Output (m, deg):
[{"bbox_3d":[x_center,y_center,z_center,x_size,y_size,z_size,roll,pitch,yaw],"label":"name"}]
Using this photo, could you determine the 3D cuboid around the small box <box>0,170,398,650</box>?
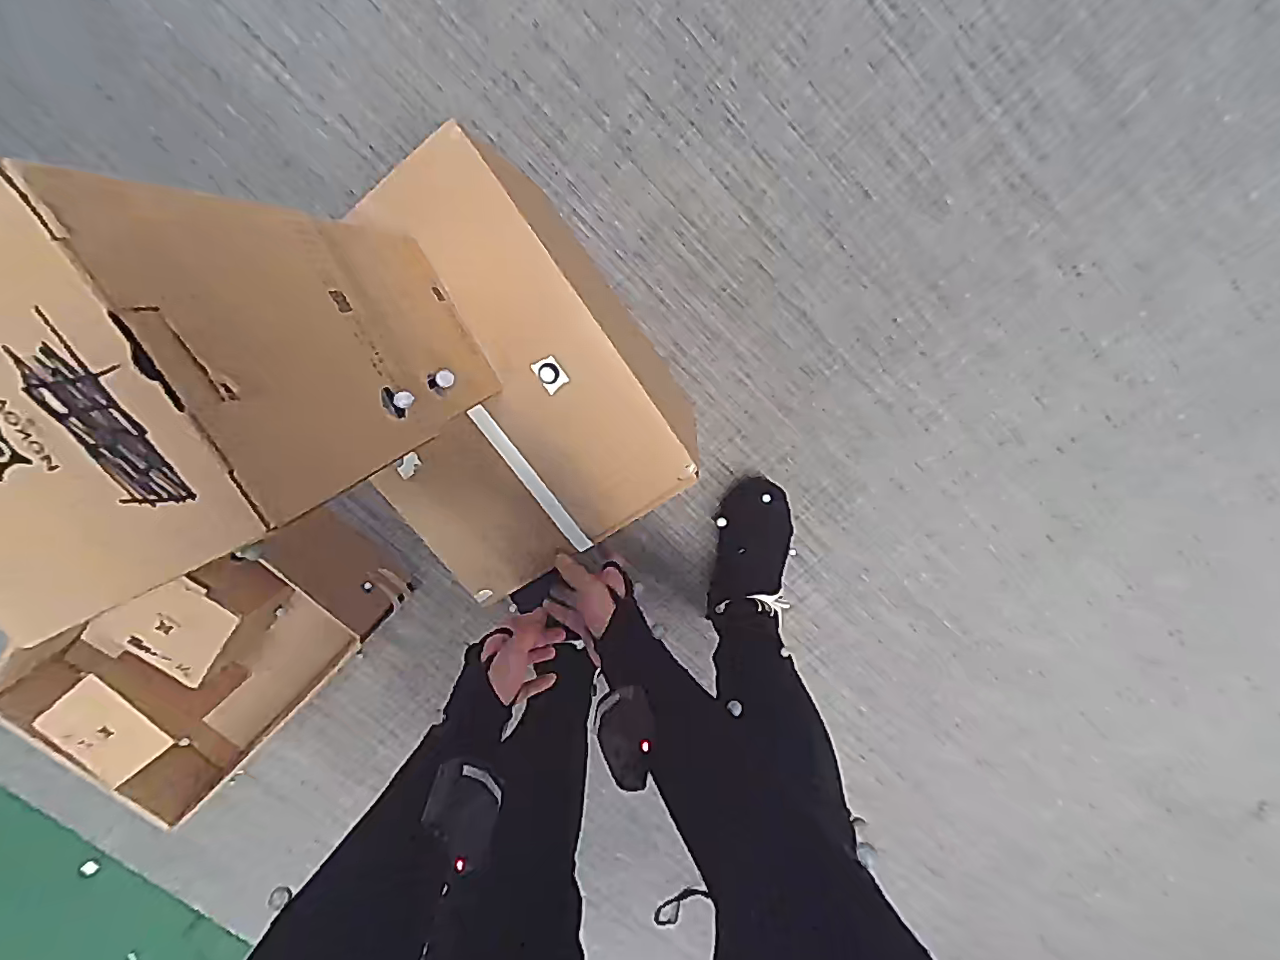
[{"bbox_3d":[-0.271,-0.042,0.307,0.179,0.176,0.168,-22,106,14],"label":"small box"}]
